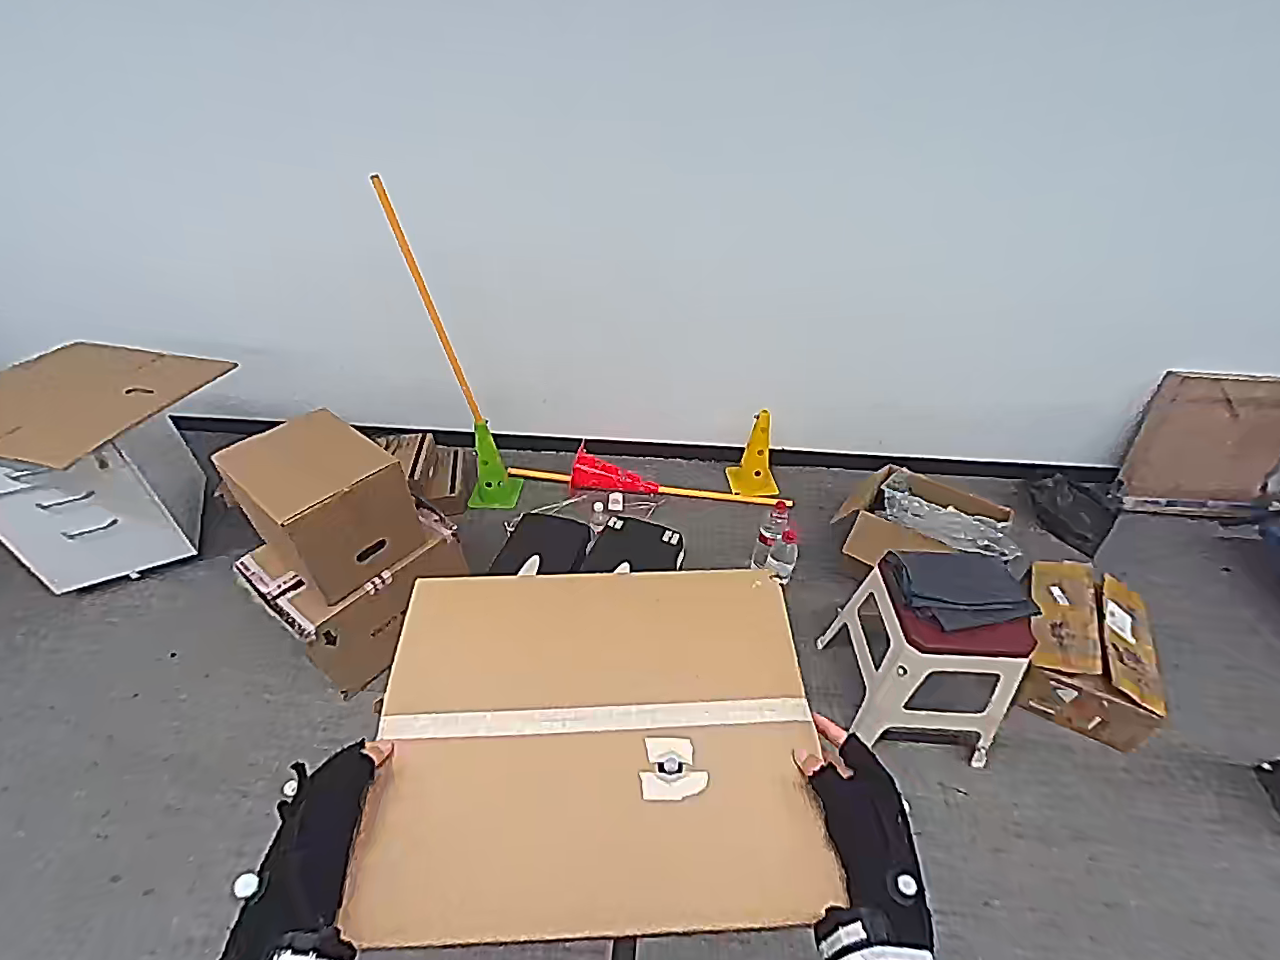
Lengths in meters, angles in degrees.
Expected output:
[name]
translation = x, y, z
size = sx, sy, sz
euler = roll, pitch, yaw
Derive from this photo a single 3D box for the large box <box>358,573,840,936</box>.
[large box]
translation = -0.042, 0.329, 0.647
size = 0.408, 0.320, 0.320
euler = -1, 51, -3
